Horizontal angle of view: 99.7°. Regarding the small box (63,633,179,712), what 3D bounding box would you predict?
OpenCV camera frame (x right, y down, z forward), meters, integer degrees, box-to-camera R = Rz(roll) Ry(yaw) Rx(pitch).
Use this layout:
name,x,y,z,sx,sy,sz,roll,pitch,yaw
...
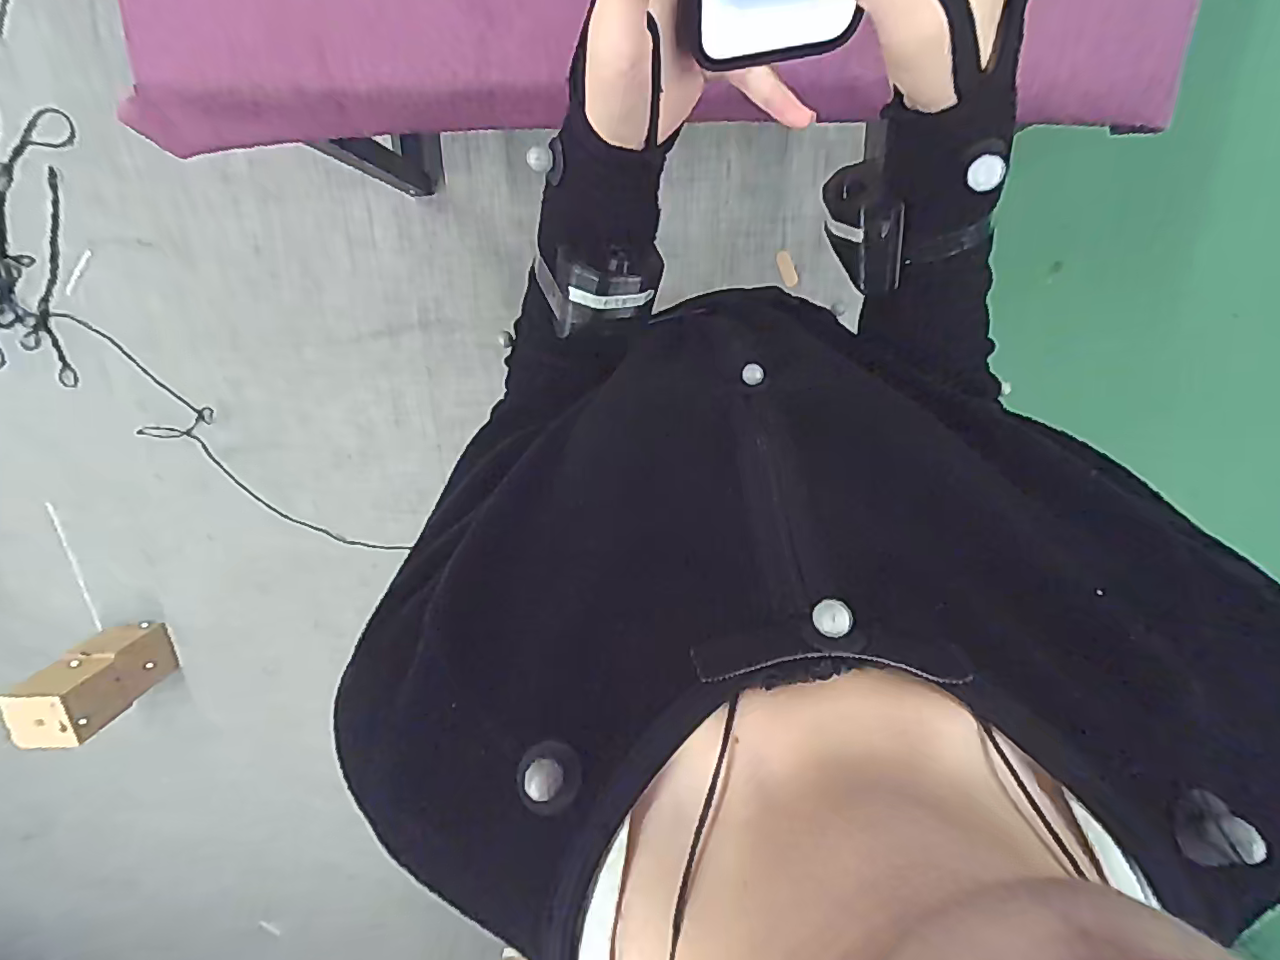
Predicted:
name,x,y,z,sx,sy,sz,roll,pitch,yaw
small box,-1.573,0.582,1.650,0.168,0.176,0.179,-2,107,3

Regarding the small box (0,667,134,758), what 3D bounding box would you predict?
name,x,y,z,sx,sy,sz,roll,pitch,yaw
small box,-1.576,0.636,1.495,0.179,0.176,0.168,-1,107,3
